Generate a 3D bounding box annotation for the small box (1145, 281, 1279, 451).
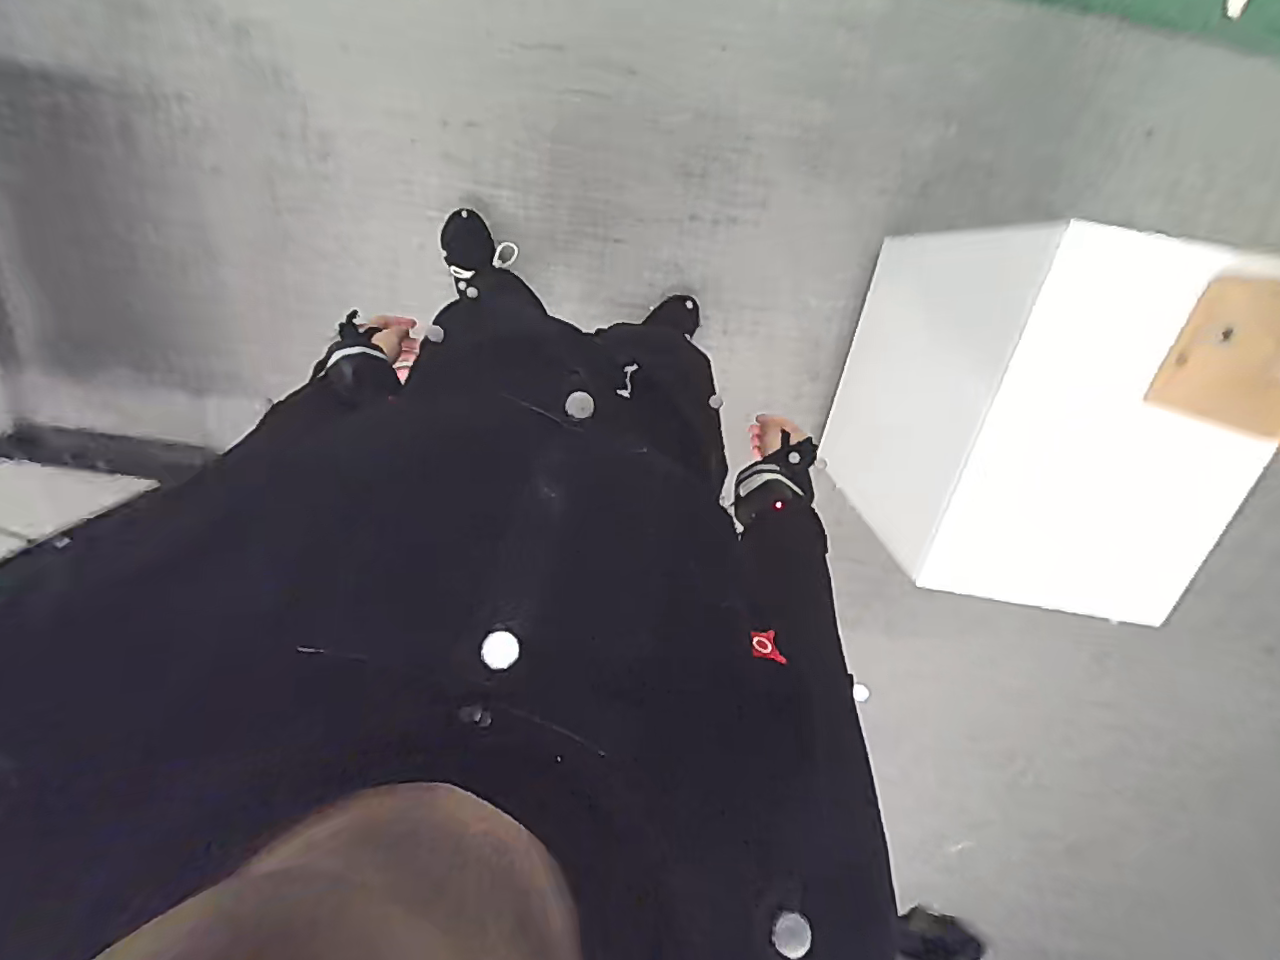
[{"bbox_3d":[0.755,-0.123,0.610,0.179,0.176,0.168,11,113,-2],"label":"small box"}]
